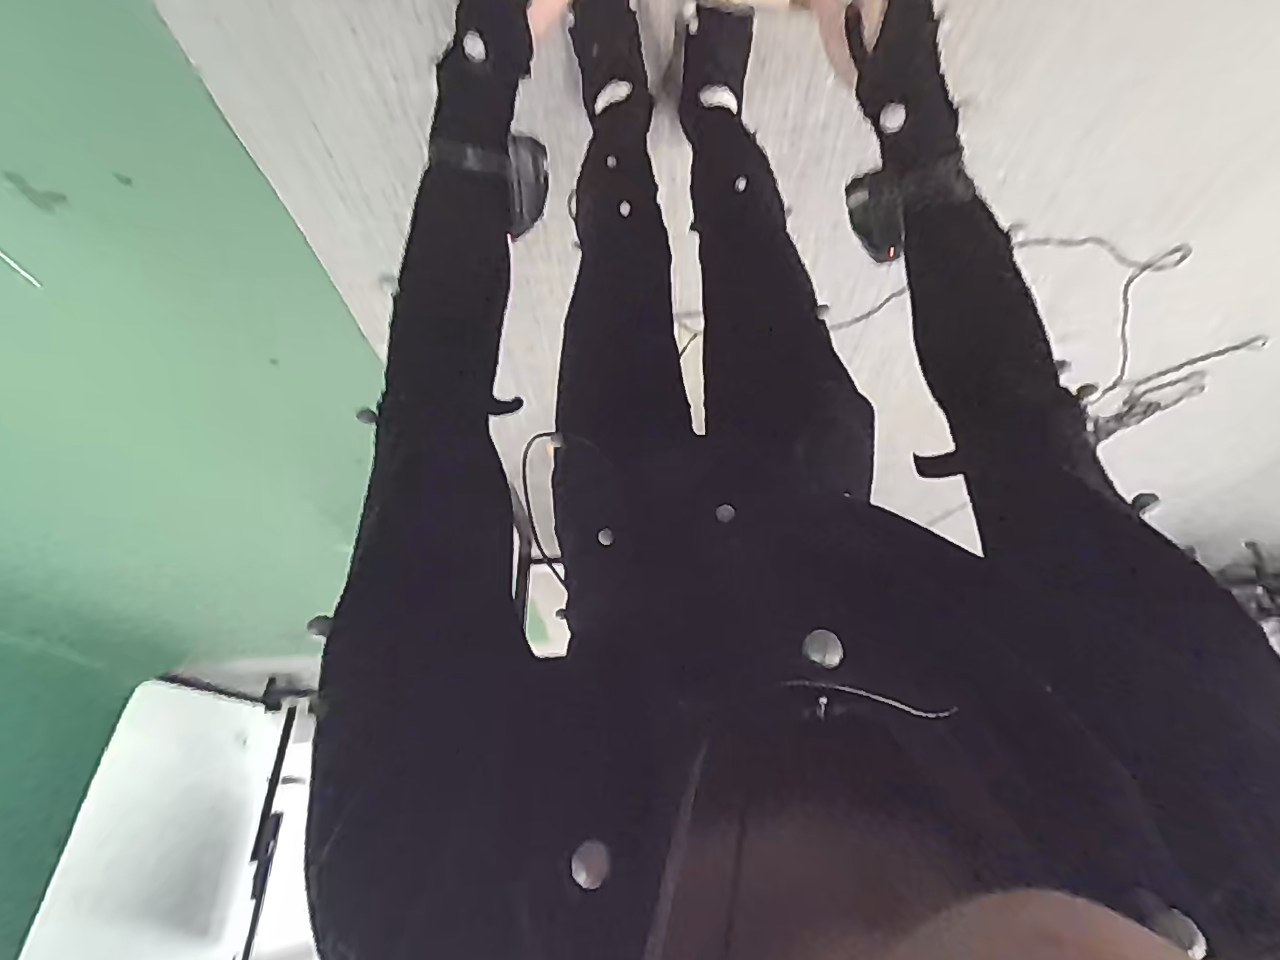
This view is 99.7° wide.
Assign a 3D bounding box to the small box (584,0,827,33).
[{"bbox_3d":[0.042,-0.441,0.388,0.179,0.176,0.168,-3,131,-15],"label":"small box"}]
